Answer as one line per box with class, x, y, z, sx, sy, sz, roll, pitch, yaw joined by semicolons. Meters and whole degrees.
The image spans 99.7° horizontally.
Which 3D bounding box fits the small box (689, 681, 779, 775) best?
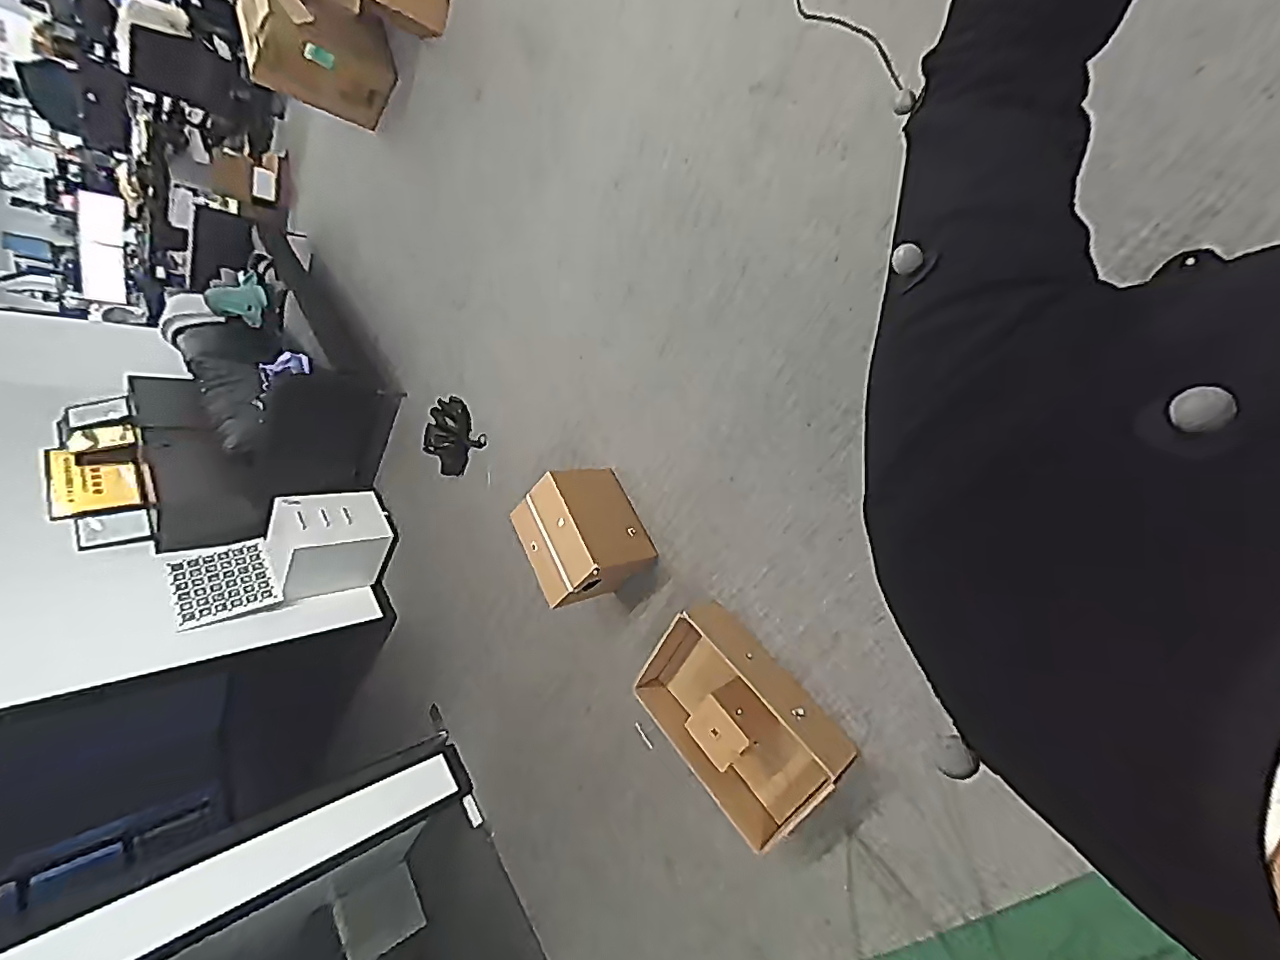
small box;0.290;0.748;1.652;0.179;0.176;0.168;46;121;32
